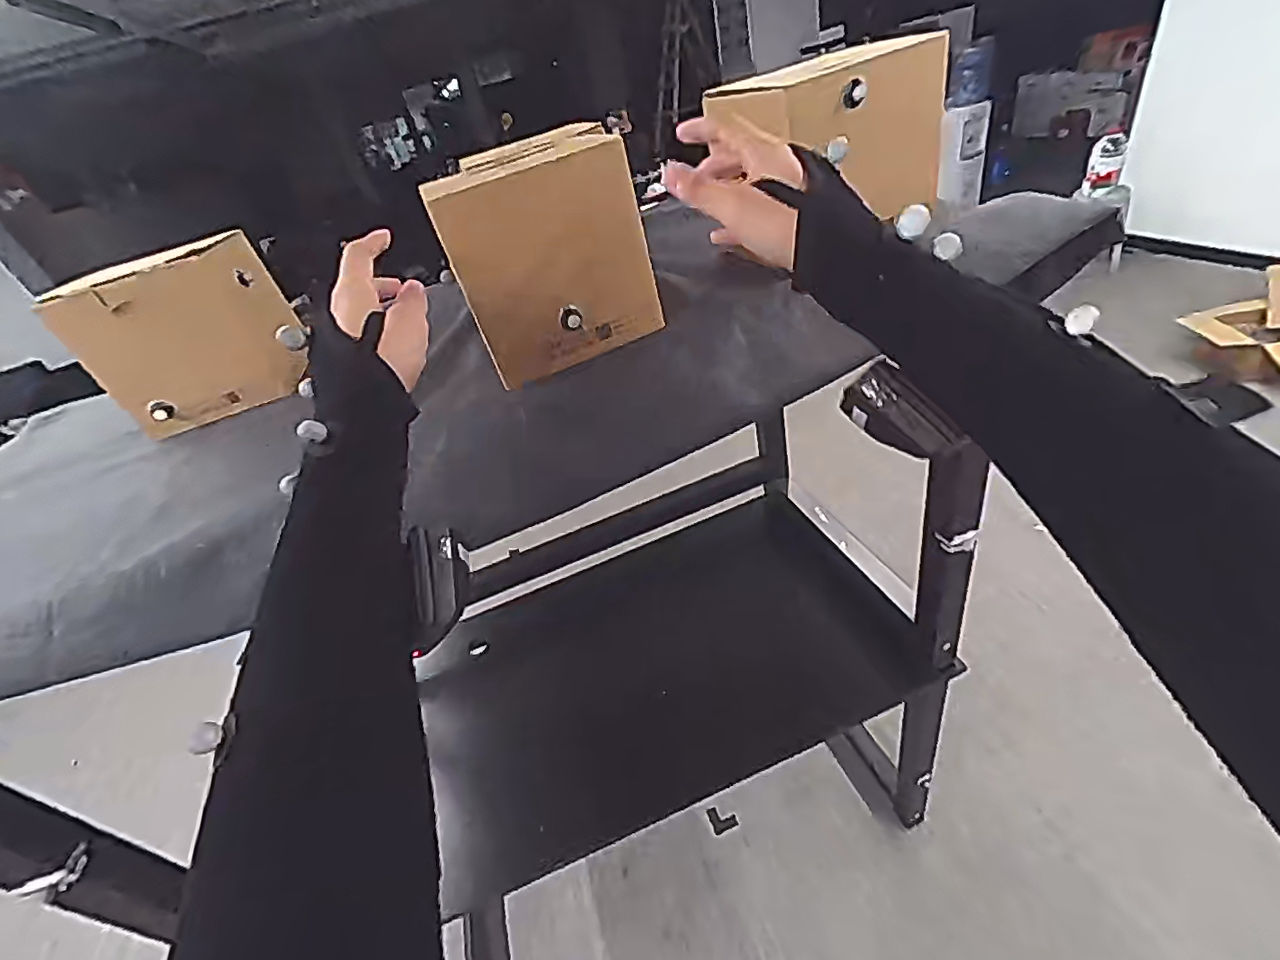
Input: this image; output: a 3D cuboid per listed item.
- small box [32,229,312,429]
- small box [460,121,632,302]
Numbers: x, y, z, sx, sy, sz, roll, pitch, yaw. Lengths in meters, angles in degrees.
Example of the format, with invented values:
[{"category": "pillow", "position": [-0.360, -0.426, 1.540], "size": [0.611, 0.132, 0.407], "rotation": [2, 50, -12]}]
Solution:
[{"category": "small box", "position": [-0.534, -0.181, 0.656], "size": [0.168, 0.176, 0.179], "rotation": [-22, 36, -7]}, {"category": "small box", "position": [-0.125, -0.352, 0.714], "size": [0.168, 0.176, 0.179], "rotation": [-22, 36, -6]}]
